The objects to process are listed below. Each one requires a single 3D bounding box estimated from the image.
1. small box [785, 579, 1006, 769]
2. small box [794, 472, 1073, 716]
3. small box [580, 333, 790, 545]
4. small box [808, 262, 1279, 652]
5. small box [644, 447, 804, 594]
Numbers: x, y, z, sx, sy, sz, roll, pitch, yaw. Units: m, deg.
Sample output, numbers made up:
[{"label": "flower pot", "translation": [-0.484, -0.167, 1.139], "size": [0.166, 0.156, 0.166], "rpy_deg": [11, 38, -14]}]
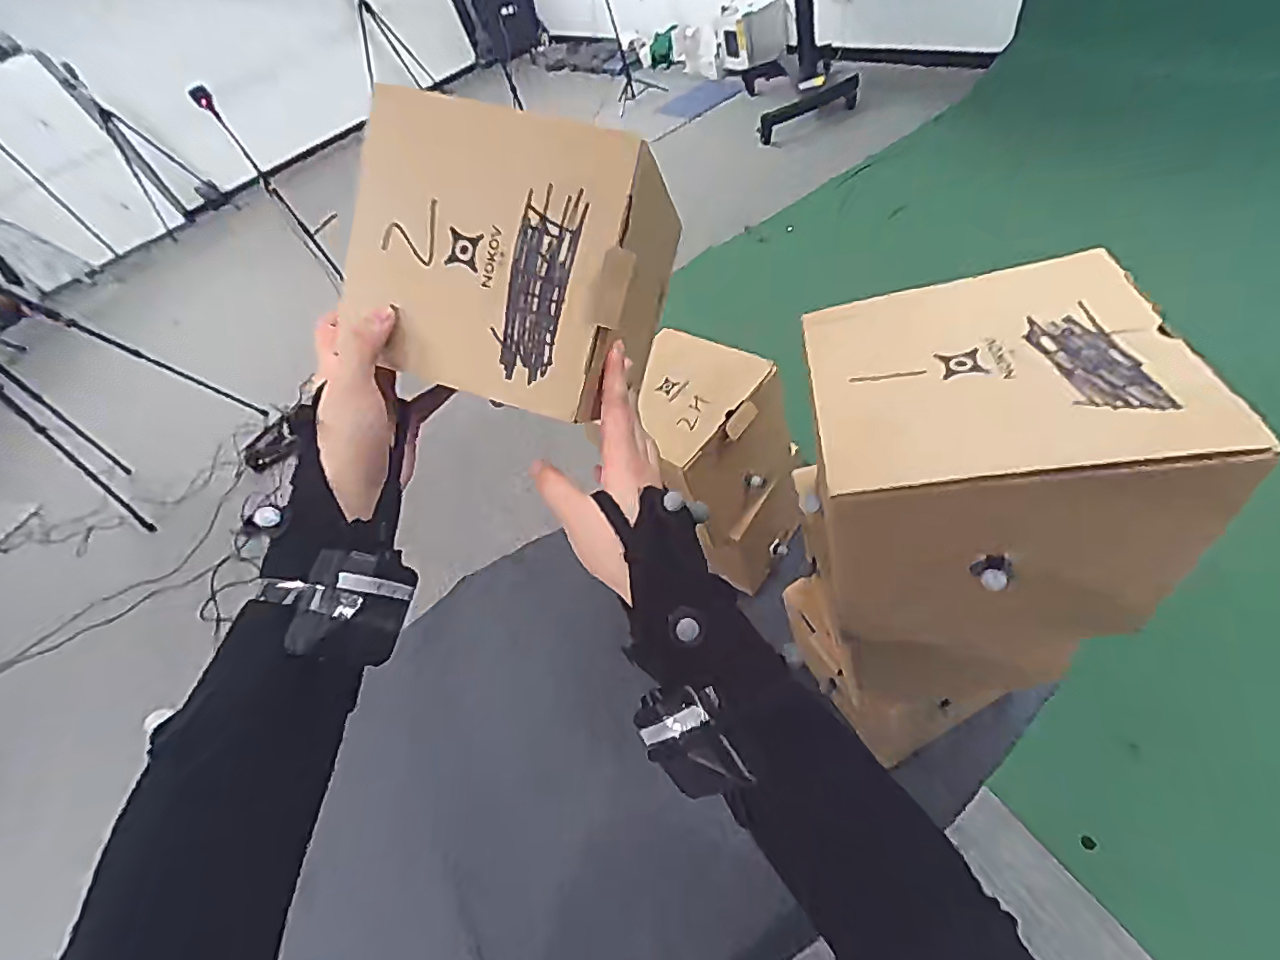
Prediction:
[{"label": "small box", "translation": [0.290, 0.186, 0.601], "size": [0.179, 0.176, 0.168], "rpy_deg": [-30, 45, -4]}, {"label": "small box", "translation": [0.250, 0.089, 0.475], "size": [0.179, 0.176, 0.168], "rpy_deg": [-15, 45, 11]}, {"label": "small box", "translation": [0.063, -0.047, 0.667], "size": [0.179, 0.176, 0.168], "rpy_deg": [31, 71, 36]}, {"label": "small box", "translation": [0.208, -0.003, 0.342], "size": [0.179, 0.176, 0.168], "rpy_deg": [-7, 47, 18]}, {"label": "small box", "translation": [0.125, 0.041, 0.792], "size": [0.179, 0.176, 0.168], "rpy_deg": [23, 66, 33]}]
